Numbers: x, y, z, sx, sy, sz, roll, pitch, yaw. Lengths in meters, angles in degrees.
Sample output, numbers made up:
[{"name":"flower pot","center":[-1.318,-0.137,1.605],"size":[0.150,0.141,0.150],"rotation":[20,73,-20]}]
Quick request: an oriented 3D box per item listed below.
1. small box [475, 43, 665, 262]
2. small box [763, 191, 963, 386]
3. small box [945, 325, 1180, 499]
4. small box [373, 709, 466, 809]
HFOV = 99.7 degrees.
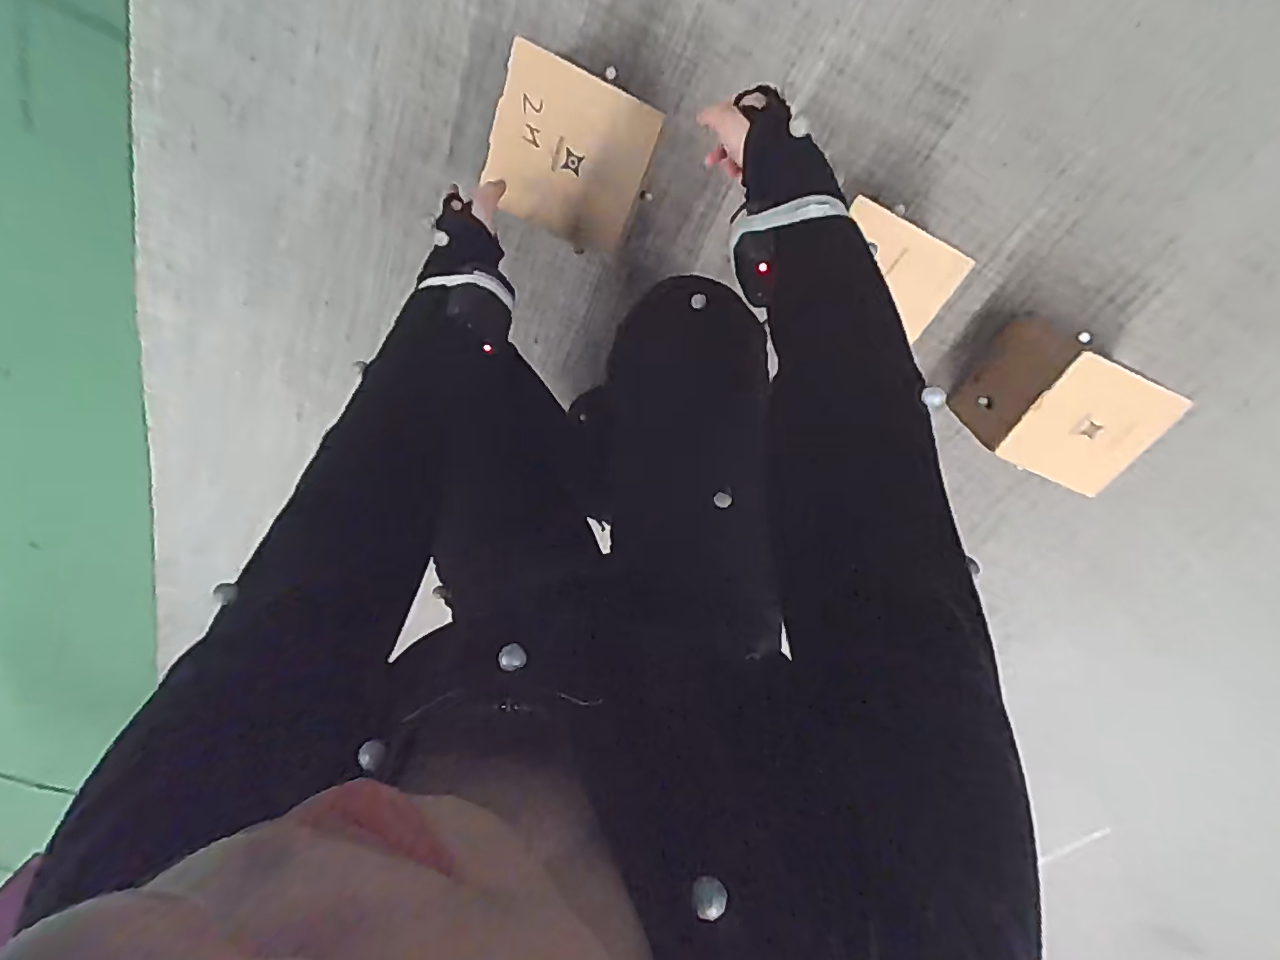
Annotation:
[{"name":"small box","center":[-0.078,-0.407,0.683],"size":[0.179,0.176,0.168],"rotation":[24,121,-8]},{"name":"small box","center":[0.280,-0.263,0.729],"size":[0.168,0.176,0.179],"rotation":[25,121,-9]},{"name":"small box","center":[0.592,-0.107,0.790],"size":[0.179,0.176,0.168],"rotation":[22,123,-8]},{"name":"small box","center":[-0.606,0.770,1.501],"size":[0.179,0.176,0.168],"rotation":[24,122,-8]}]
